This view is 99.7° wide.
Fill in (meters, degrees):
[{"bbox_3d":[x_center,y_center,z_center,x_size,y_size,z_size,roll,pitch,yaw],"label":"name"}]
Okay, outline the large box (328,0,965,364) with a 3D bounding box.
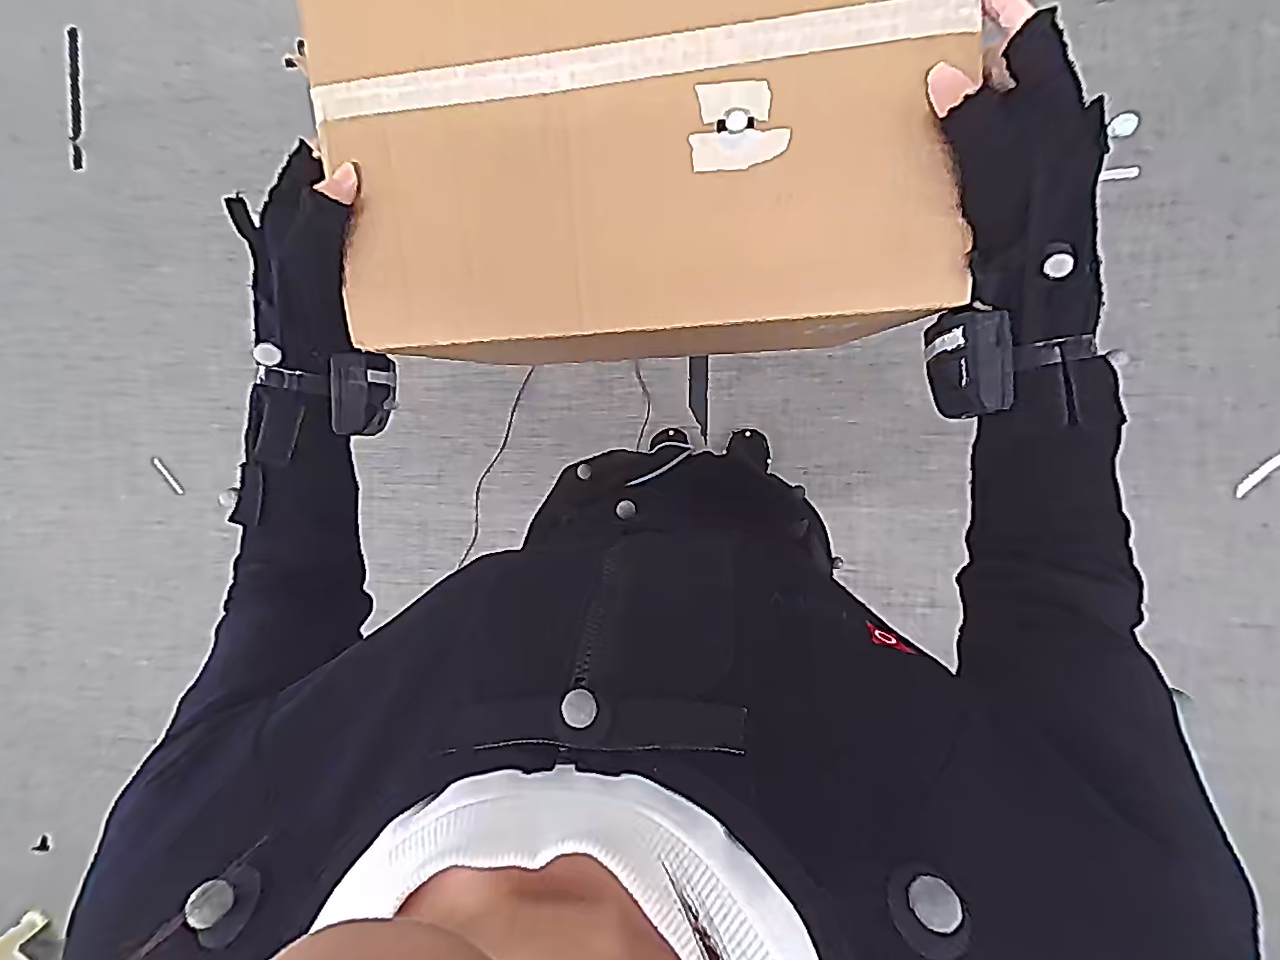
[{"bbox_3d":[0.010,-0.284,0.488,0.408,0.320,0.320,-3,100,7],"label":"large box"}]
